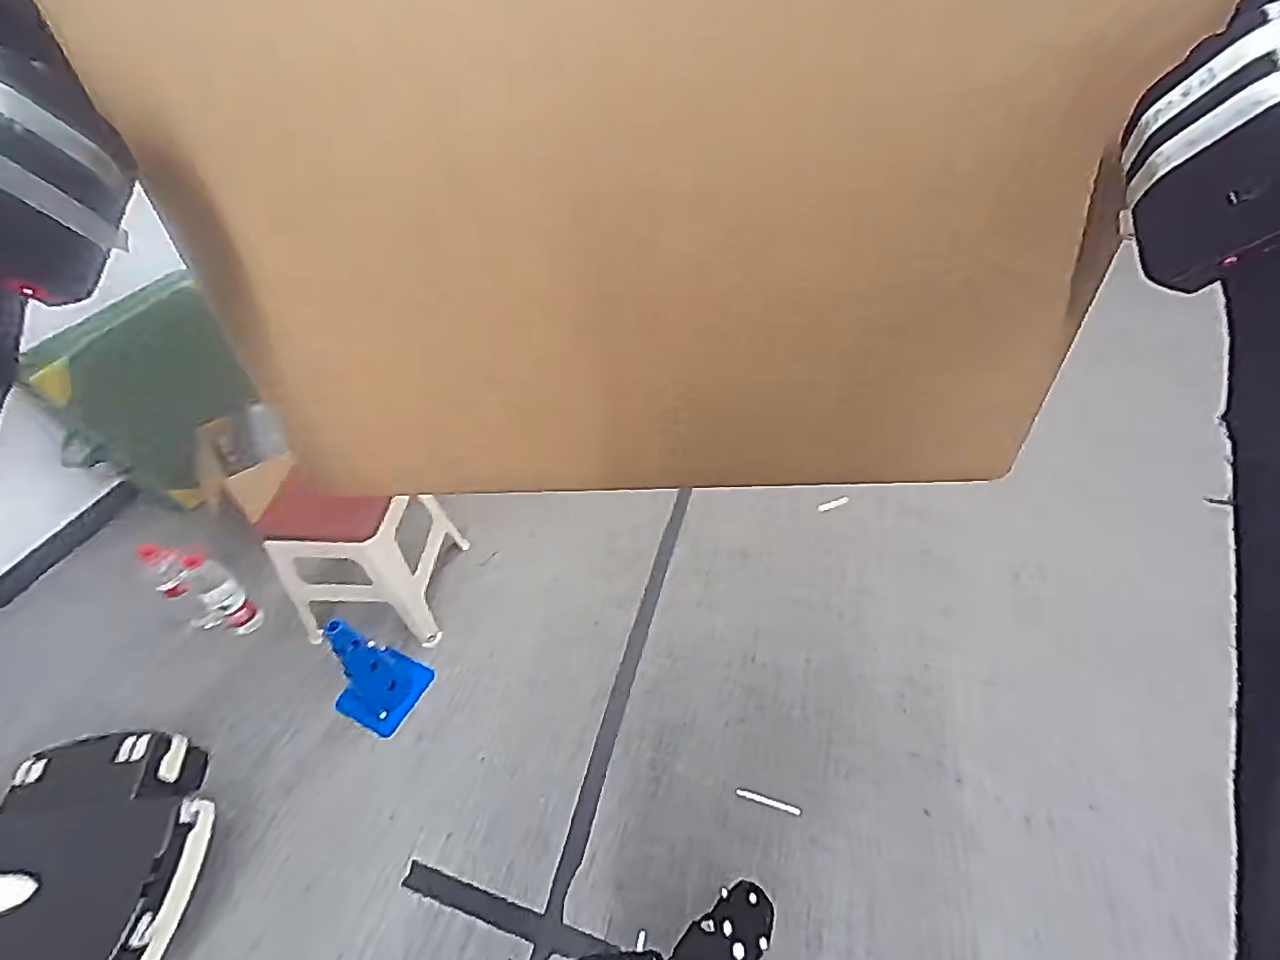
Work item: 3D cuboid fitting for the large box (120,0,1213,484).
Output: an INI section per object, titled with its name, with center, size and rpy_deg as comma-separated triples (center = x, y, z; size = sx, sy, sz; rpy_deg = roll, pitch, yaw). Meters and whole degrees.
[large box]
center = 0.011, -0.209, 0.350
size = 0.408, 0.320, 0.320
rpy_deg = -1, 39, 2
